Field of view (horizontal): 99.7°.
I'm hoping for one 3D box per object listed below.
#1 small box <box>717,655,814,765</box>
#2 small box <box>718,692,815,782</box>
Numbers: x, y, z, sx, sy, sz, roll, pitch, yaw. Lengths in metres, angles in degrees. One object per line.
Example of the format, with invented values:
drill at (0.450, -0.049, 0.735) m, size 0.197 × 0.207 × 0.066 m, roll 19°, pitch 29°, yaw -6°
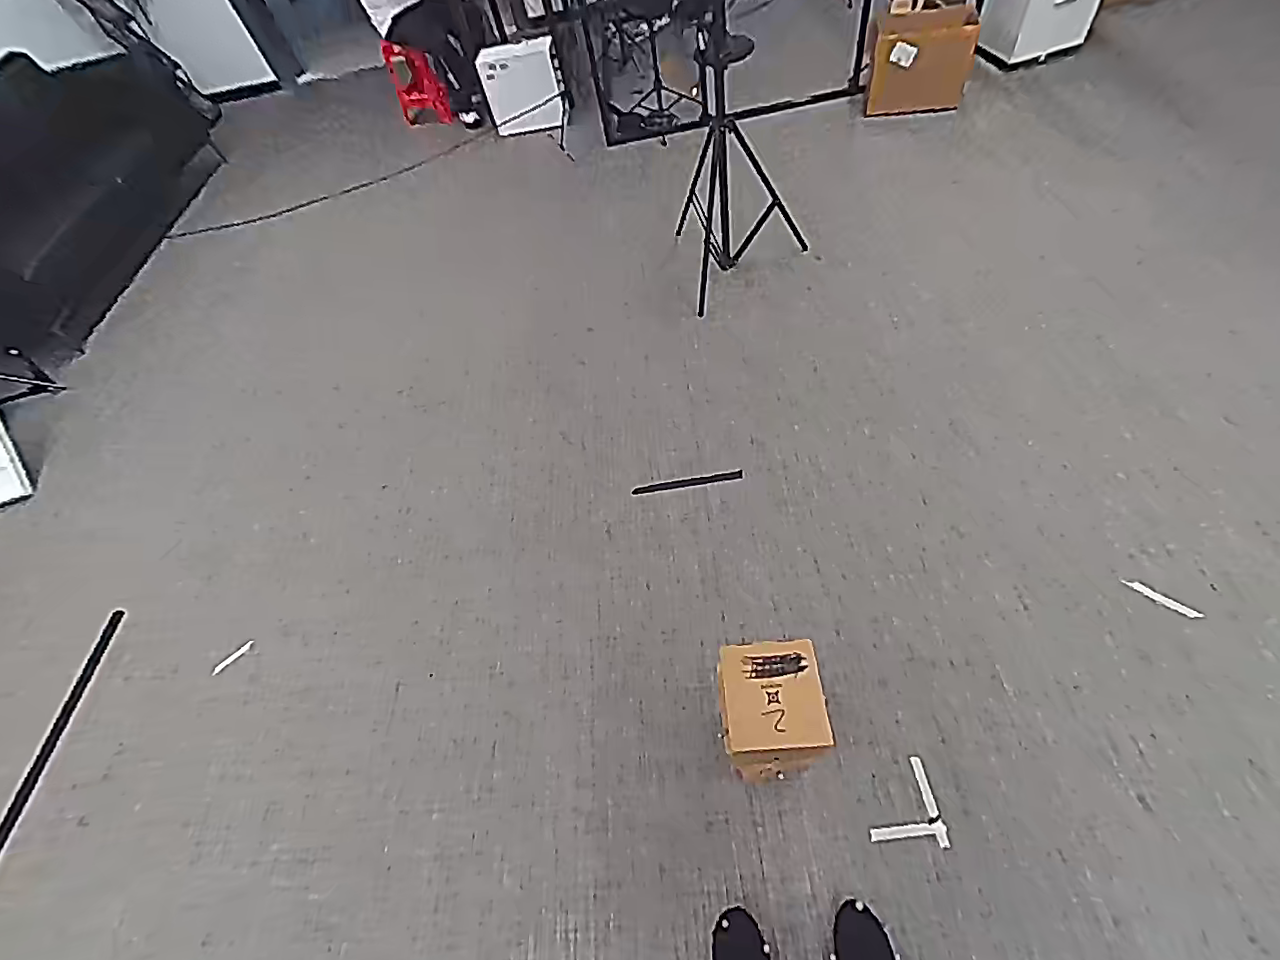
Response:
small box at (0.252, 0.481, 1.125) m, size 0.168 × 0.176 × 0.179 m, roll -7°, pitch 55°, yaw 6°
small box at (0.286, 0.576, 1.253) m, size 0.168 × 0.176 × 0.179 m, roll -18°, pitch 55°, yaw 0°
